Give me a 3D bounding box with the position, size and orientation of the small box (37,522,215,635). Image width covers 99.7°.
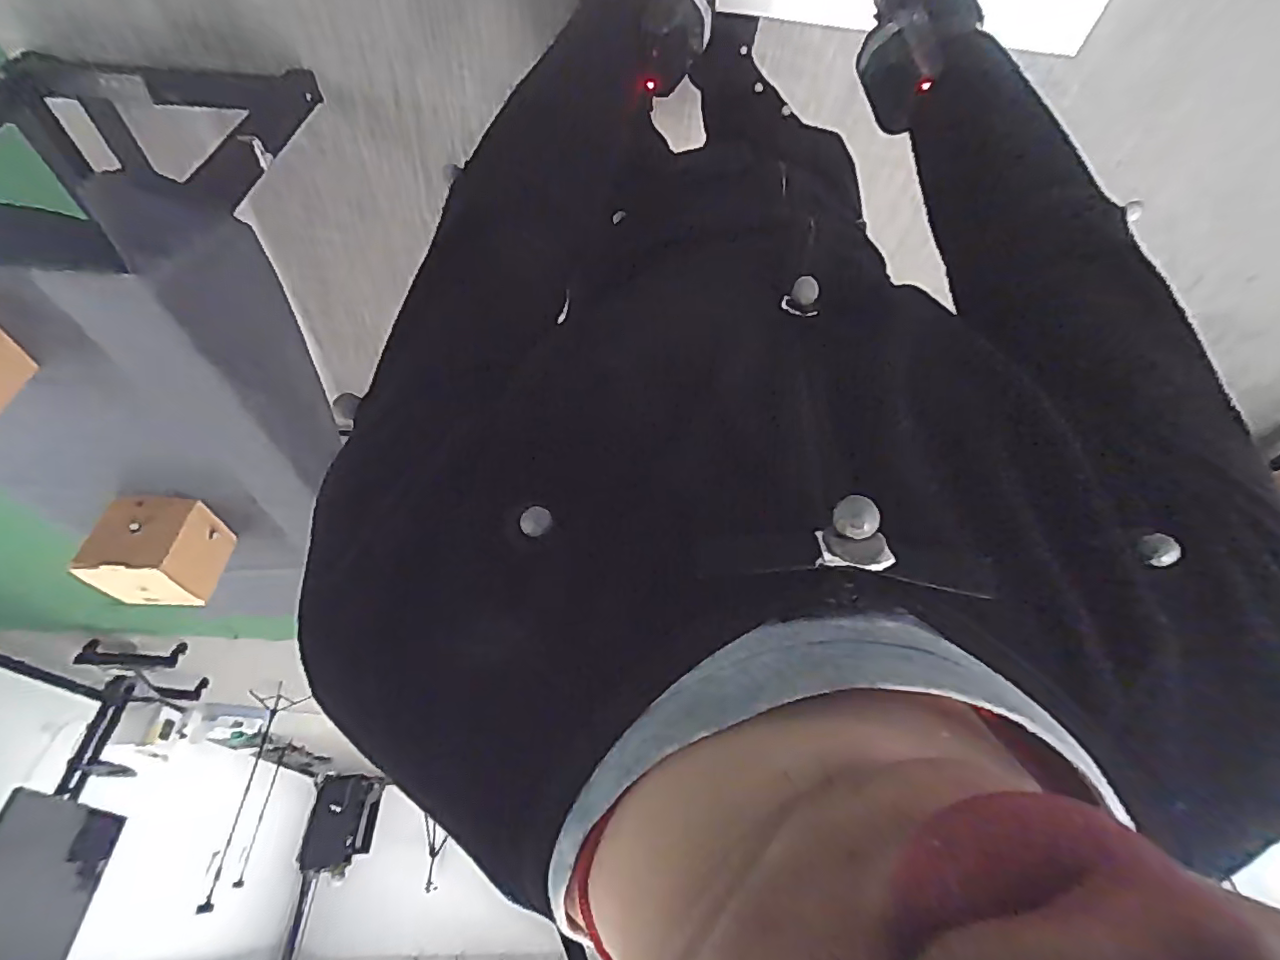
[{"bbox_3d":[-1.011,0.197,1.086,0.168,0.176,0.179,2,143,-7],"label":"small box"}]
